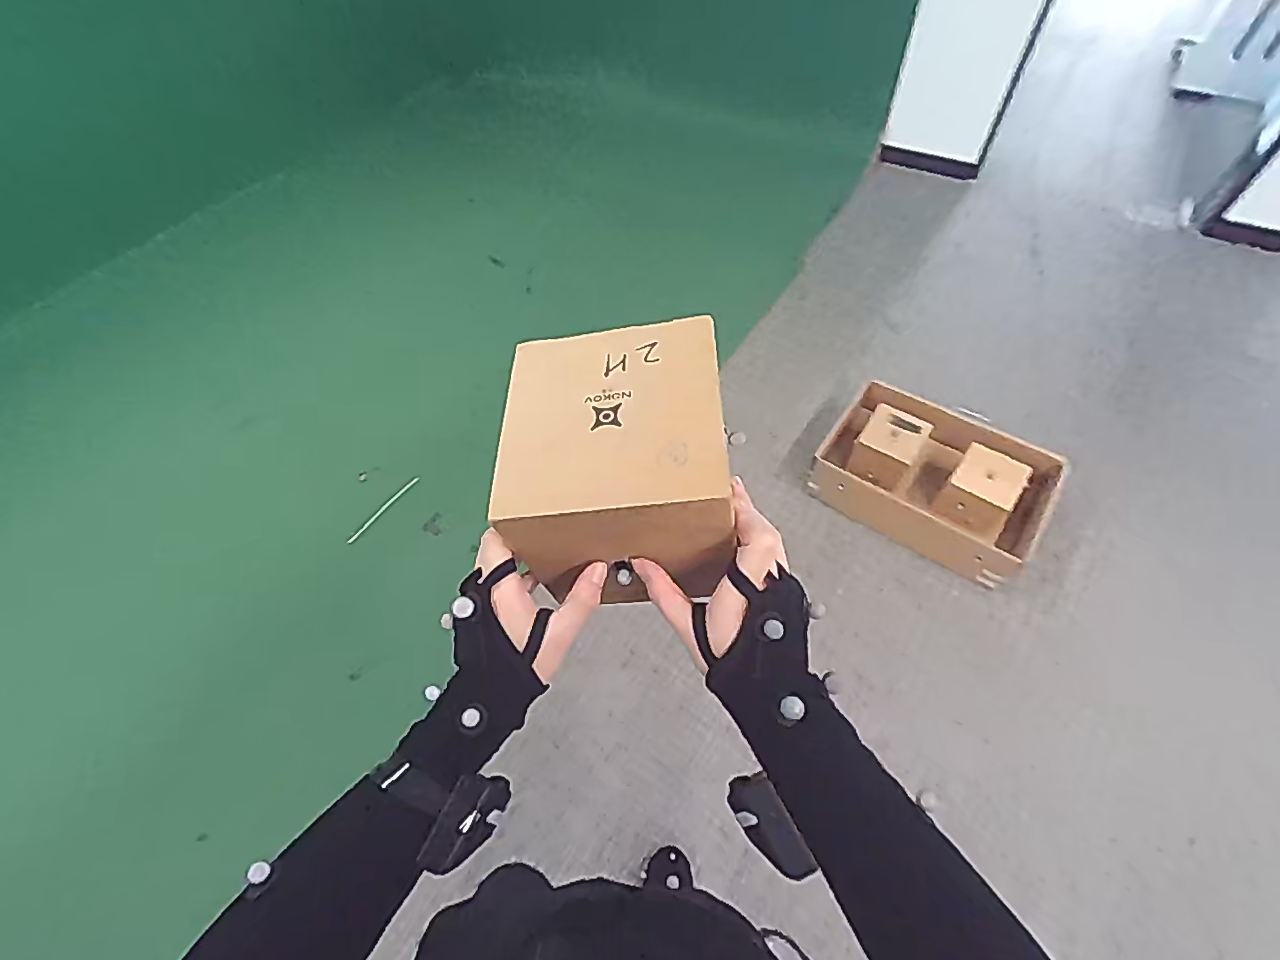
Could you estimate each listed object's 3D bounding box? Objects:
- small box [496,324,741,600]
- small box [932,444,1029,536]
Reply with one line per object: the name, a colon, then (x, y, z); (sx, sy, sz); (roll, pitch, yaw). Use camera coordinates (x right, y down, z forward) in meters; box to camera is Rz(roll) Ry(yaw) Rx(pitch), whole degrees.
small box: (-0.003, -0.003, 0.468); (0.168, 0.176, 0.179); (-5, 55, 9)
small box: (0.997, 0.034, 1.599); (0.168, 0.176, 0.179); (32, 66, 24)
